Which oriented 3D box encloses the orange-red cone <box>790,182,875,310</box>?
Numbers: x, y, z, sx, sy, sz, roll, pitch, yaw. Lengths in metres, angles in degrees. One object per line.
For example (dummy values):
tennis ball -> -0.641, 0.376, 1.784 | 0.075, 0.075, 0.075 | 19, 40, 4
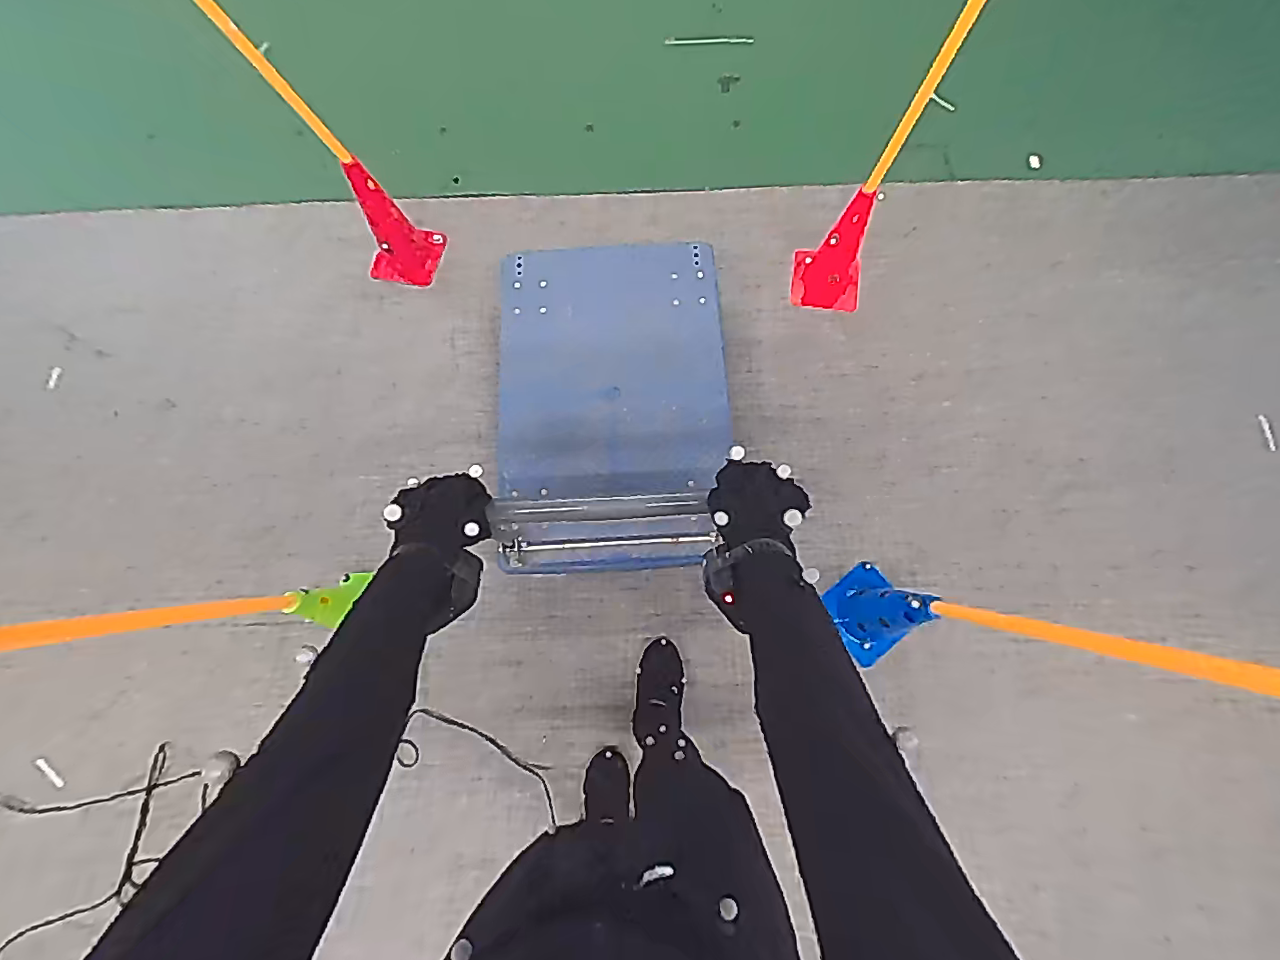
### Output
orange-red cone -> 0.554, -0.651, 1.465 | 0.198, 0.360, 0.199 | 9, 75, 5
